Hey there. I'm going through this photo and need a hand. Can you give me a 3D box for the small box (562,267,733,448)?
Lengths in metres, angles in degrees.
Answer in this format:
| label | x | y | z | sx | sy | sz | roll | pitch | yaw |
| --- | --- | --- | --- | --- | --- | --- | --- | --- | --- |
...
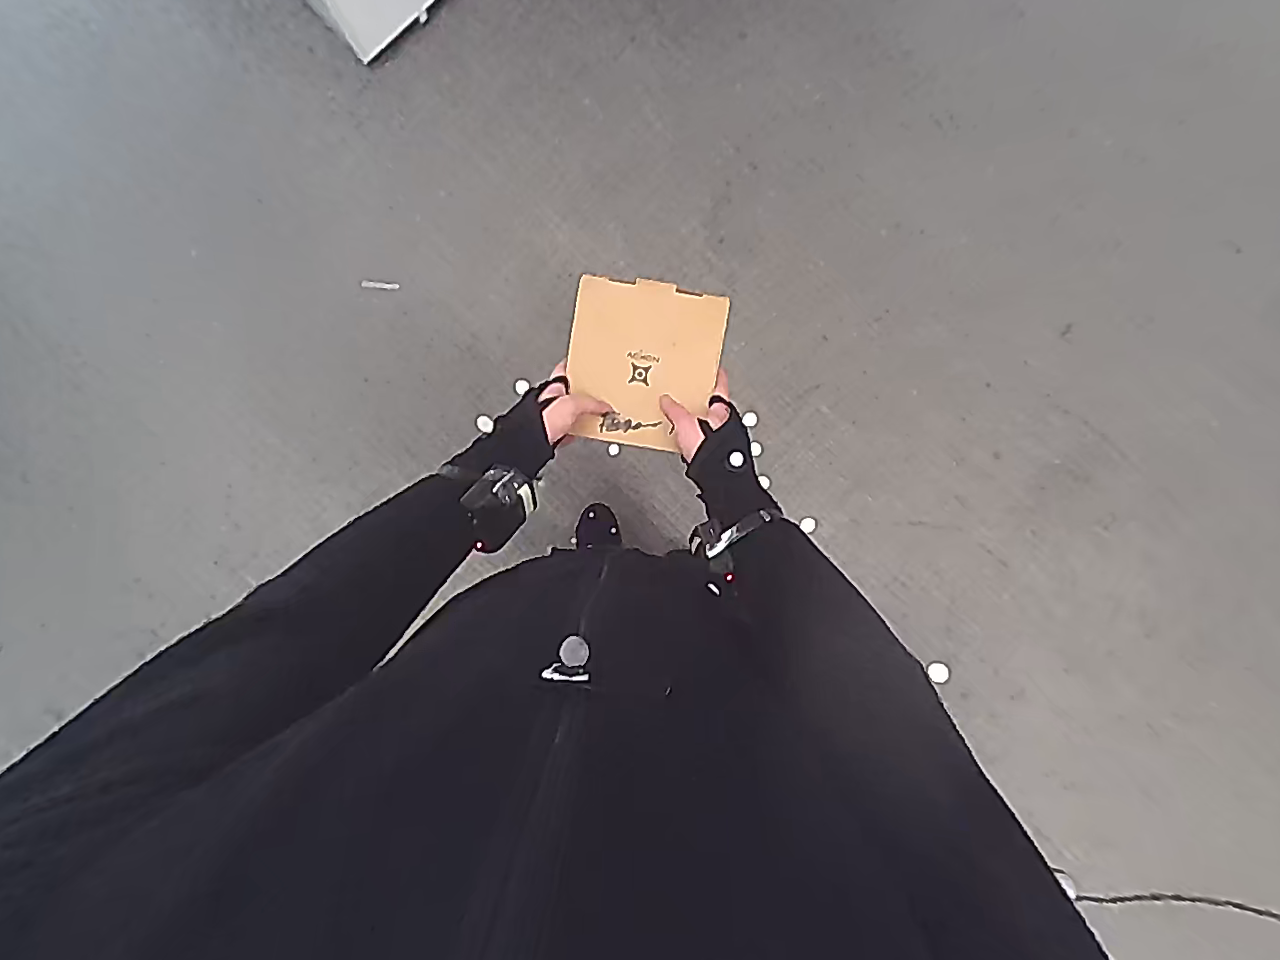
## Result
| label | x | y | z | sx | sy | sz | roll | pitch | yaw |
| --- | --- | --- | --- | --- | --- | --- | --- | --- | --- |
| small box | 0.010 | -0.139 | 0.673 | 0.168 | 0.176 | 0.179 | 10 | 94 | 2 |
